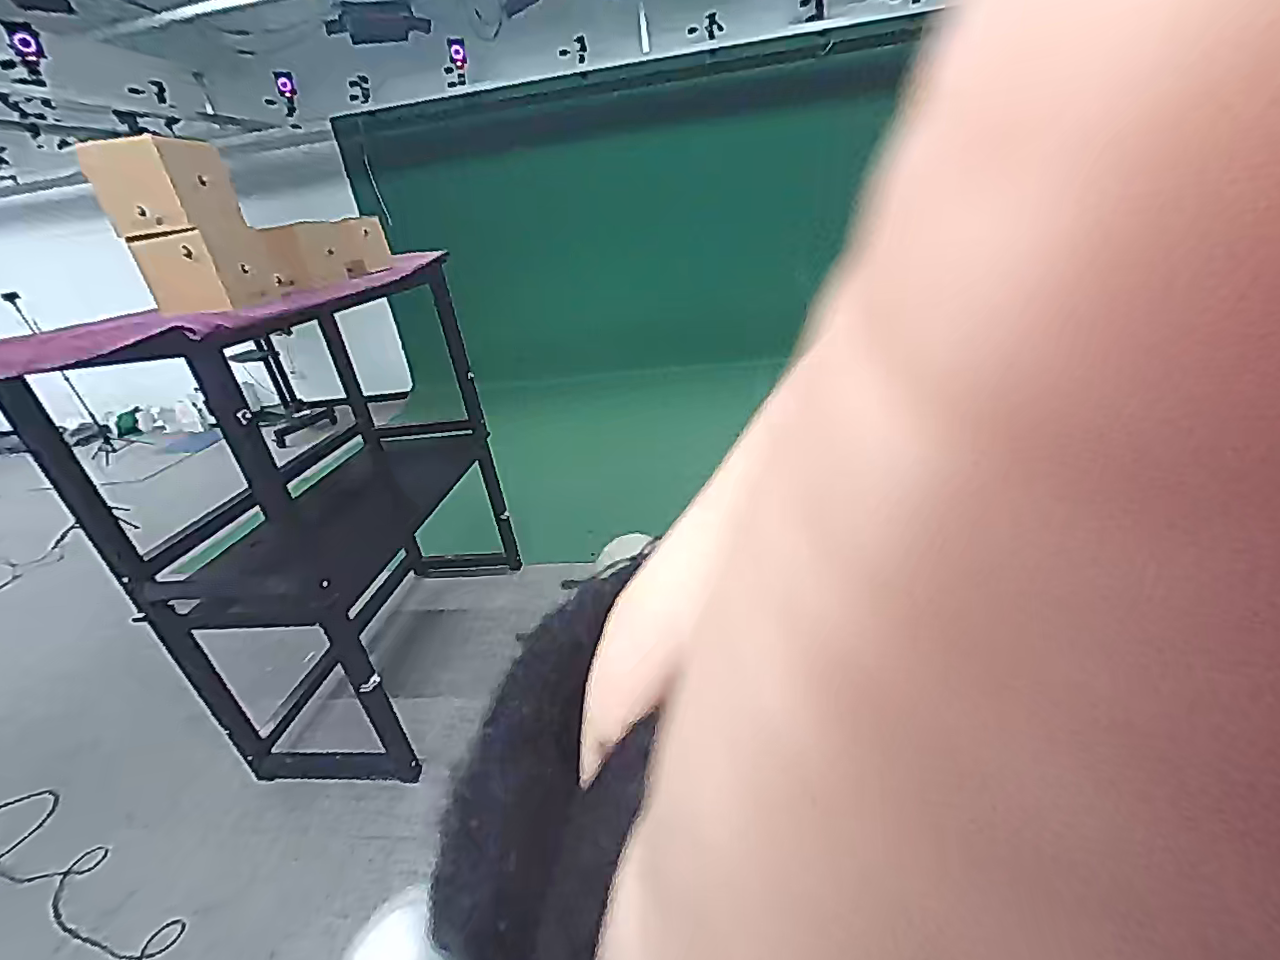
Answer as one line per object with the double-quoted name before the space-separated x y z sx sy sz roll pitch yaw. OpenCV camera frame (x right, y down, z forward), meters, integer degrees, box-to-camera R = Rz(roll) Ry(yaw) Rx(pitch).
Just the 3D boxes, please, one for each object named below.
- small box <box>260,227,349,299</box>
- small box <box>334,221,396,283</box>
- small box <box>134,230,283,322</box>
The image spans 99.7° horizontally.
"small box" -0.964 -0.616 1.541 0.168 0.176 0.179 -5 28 7
"small box" -0.959 -0.765 1.828 0.168 0.176 0.179 -5 27 11
"small box" -0.966 -0.465 1.233 0.179 0.176 0.168 -5 26 6
